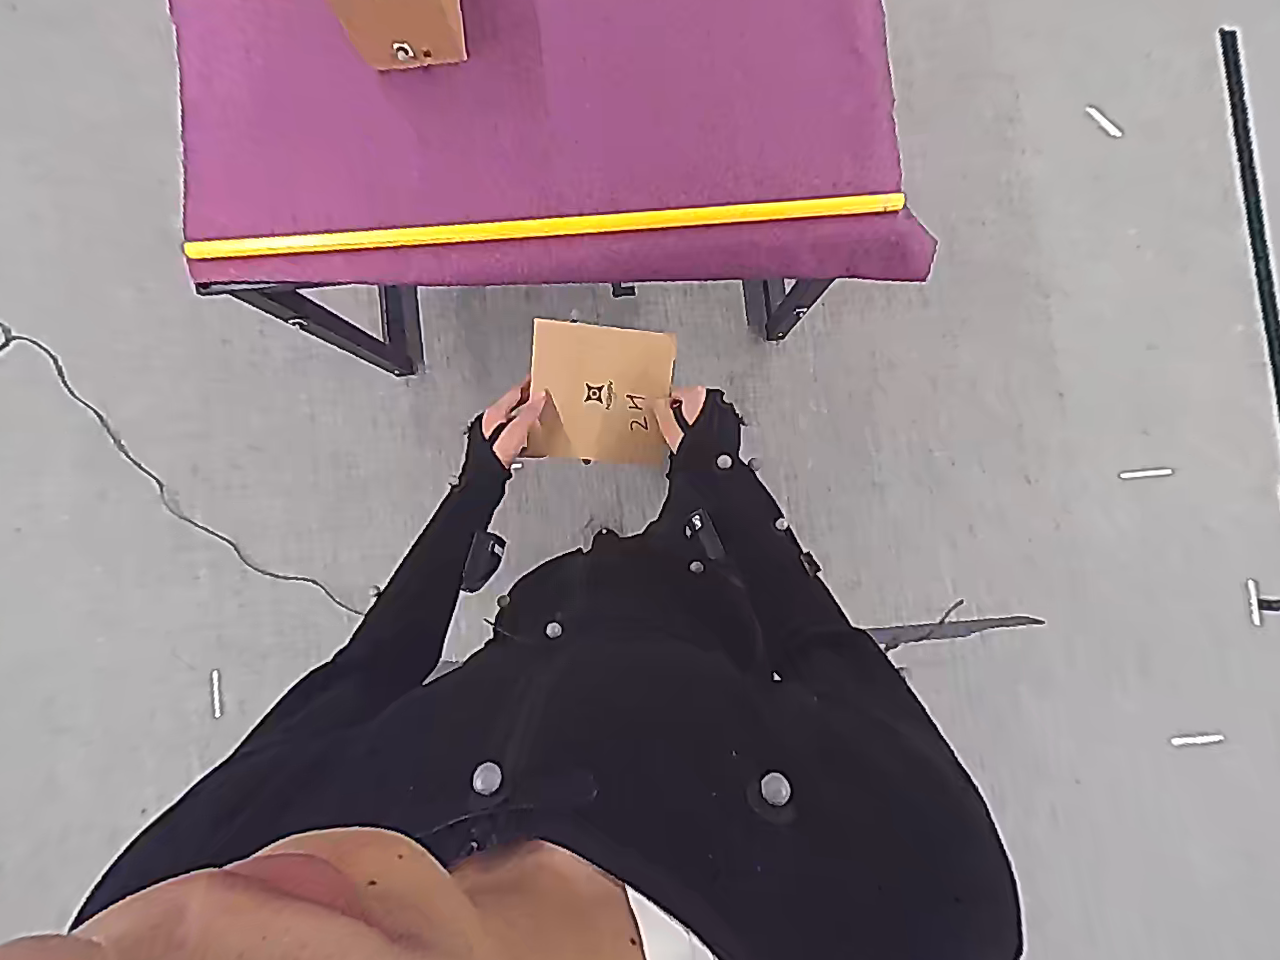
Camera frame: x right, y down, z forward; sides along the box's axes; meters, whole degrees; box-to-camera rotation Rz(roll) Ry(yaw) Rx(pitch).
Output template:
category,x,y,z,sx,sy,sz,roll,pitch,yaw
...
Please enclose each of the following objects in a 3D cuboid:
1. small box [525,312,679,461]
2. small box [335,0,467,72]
category,x,y,z,sx,sy,sz,roll,pitch,yaw
small box,-0.053,-0.130,0.739,0.179,0.176,0.168,5,104,-6
small box,-0.387,-0.798,0.852,0.168,0.176,0.179,-7,89,1
